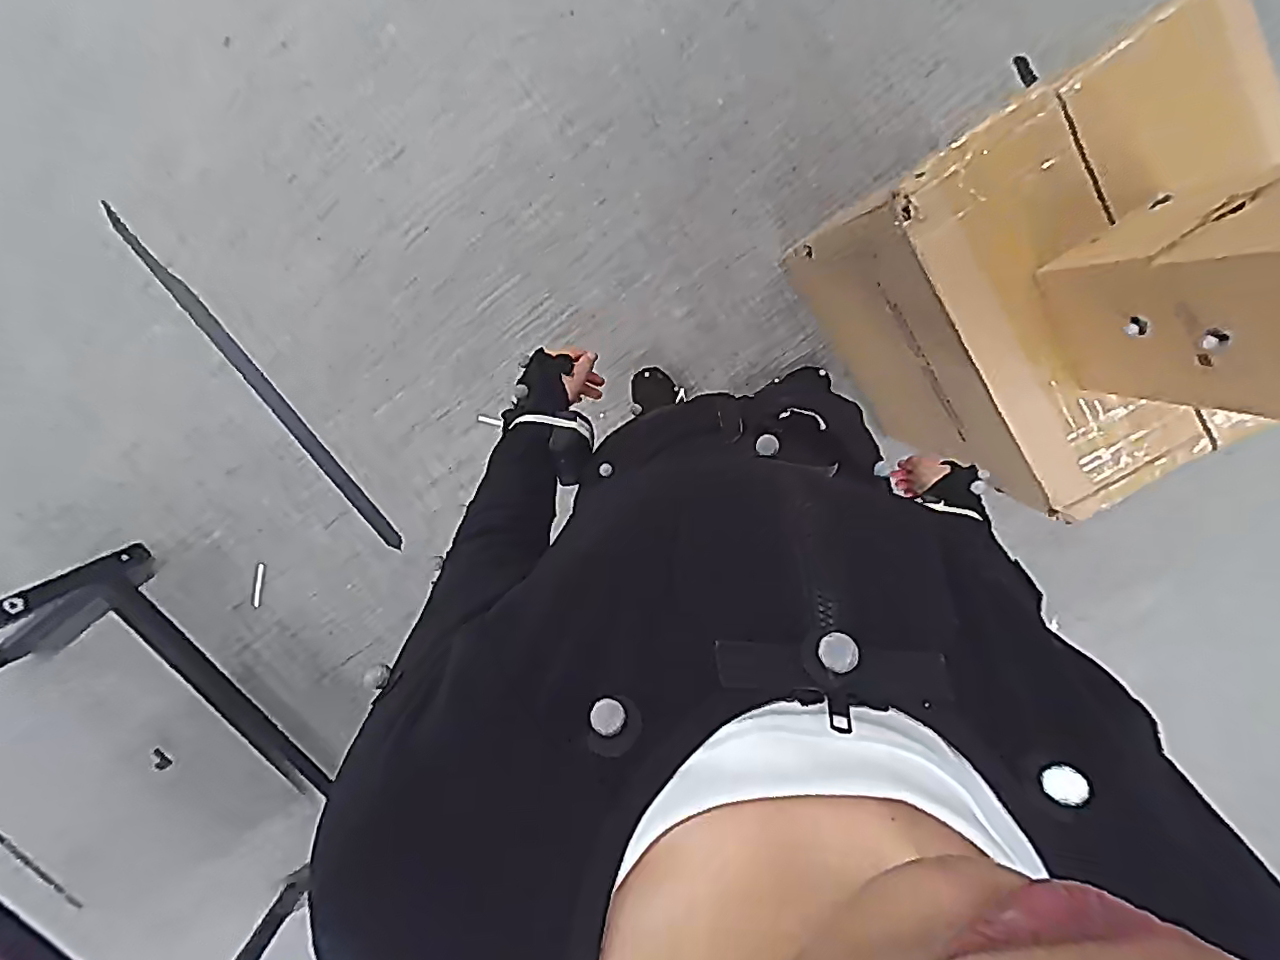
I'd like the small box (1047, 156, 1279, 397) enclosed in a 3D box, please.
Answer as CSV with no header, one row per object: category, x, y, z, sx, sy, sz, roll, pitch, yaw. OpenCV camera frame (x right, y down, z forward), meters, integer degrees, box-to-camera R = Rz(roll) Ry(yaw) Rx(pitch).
small box,0.596,-0.213,0.586,0.168,0.176,0.179,-32,103,11
